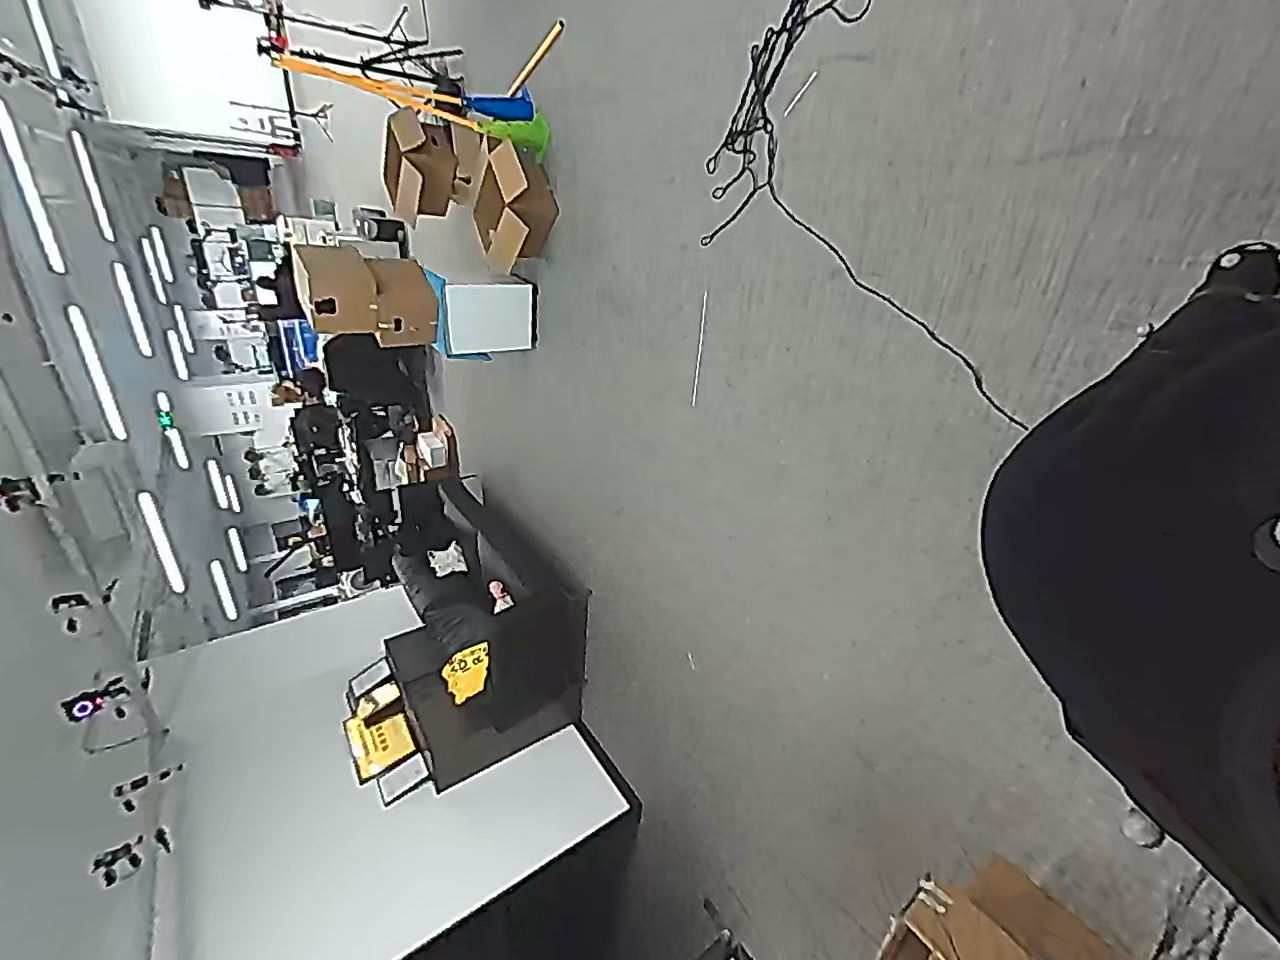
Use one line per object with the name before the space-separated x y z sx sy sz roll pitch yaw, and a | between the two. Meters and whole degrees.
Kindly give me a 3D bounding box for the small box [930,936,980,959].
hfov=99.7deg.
small box | 0.769 1.257 1.283 0.168 0.176 0.179 16 115 53
